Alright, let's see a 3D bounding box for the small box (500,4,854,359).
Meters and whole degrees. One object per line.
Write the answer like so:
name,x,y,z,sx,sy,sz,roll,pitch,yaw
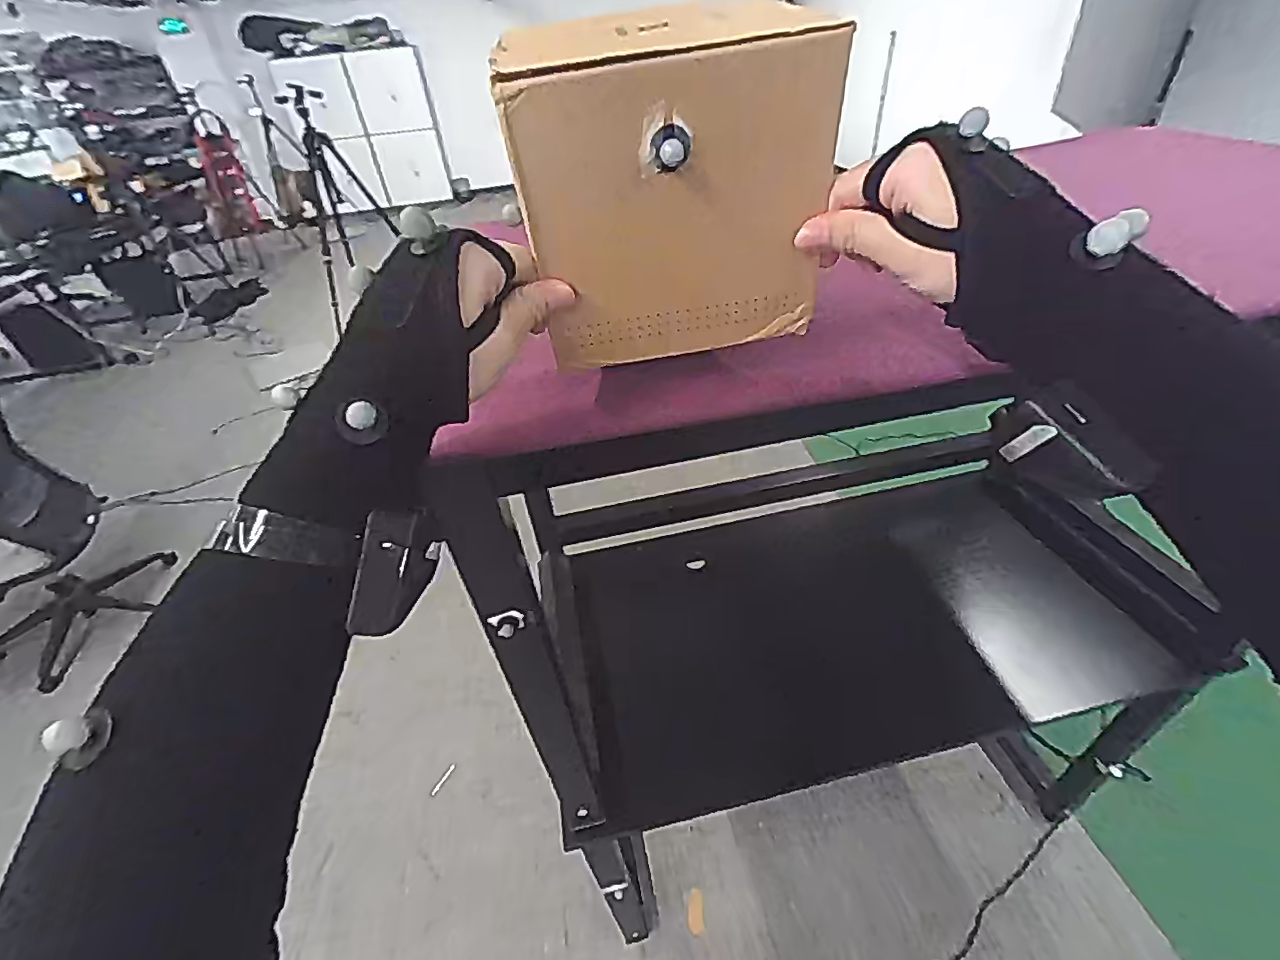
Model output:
small box,0.018,-0.199,0.368,0.179,0.176,0.168,-9,45,-2
